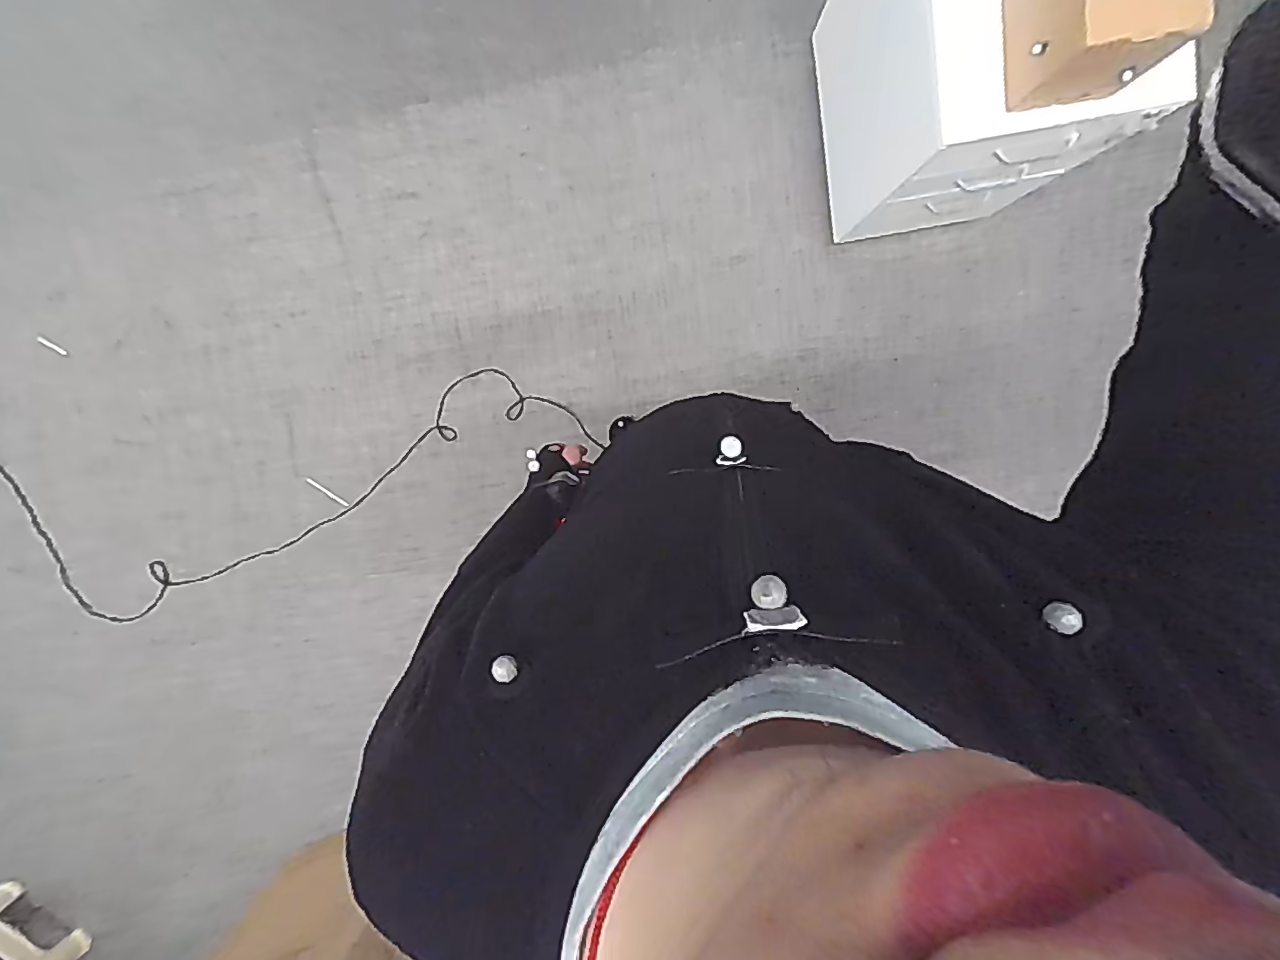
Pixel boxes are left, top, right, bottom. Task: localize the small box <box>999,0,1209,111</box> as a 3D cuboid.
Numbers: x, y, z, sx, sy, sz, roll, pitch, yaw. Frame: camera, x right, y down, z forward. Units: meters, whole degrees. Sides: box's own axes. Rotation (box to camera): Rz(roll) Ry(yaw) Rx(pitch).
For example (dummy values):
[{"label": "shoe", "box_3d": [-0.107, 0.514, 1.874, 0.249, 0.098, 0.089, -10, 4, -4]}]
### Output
[{"label": "small box", "box_3d": [0.653, -0.667, 0.779, 0.168, 0.176, 0.179, -8, 96, 1]}]
